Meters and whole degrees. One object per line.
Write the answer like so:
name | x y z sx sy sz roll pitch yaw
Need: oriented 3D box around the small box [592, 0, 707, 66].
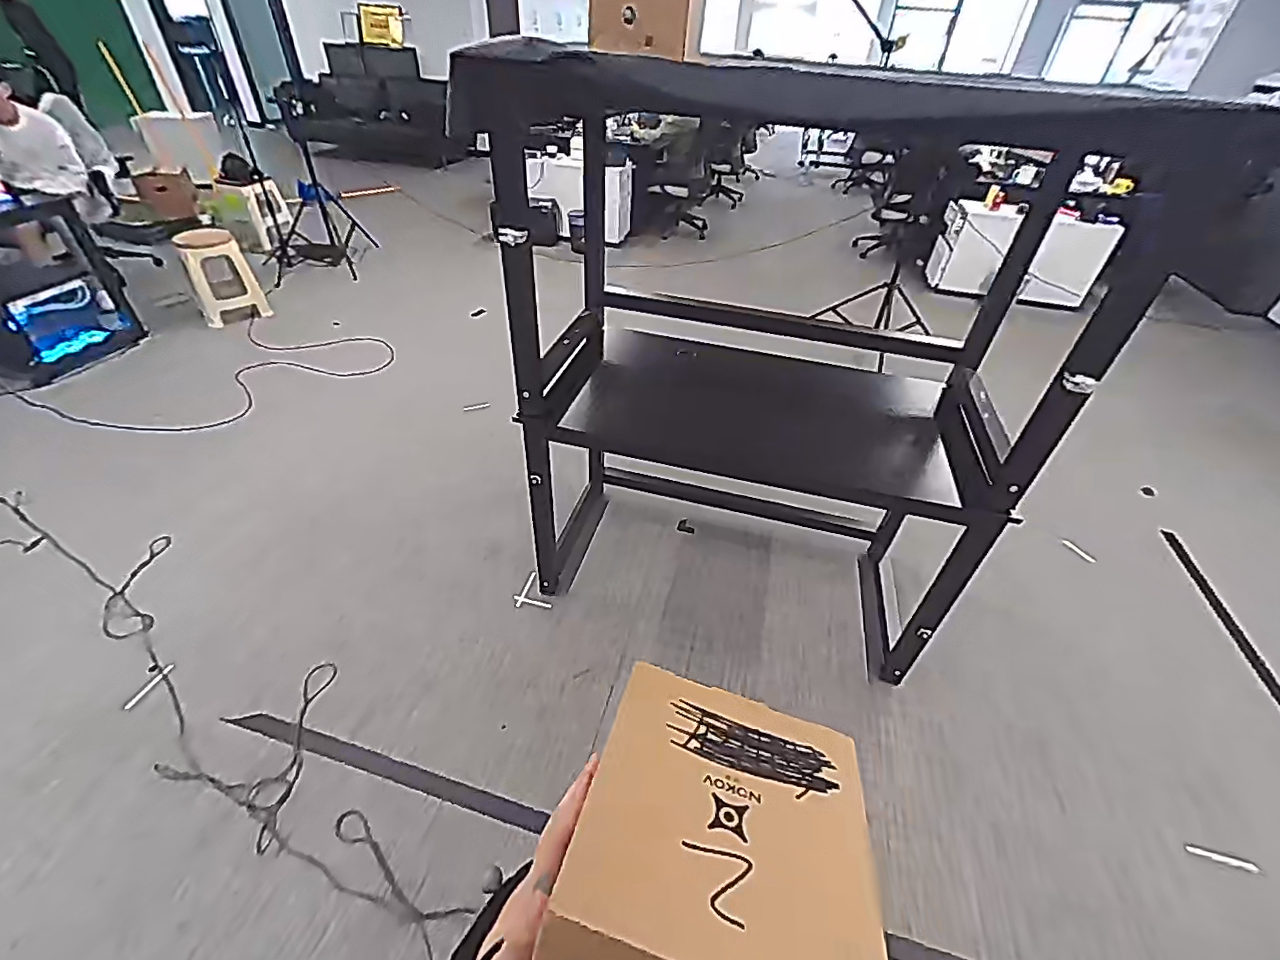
small box | 0.020 -0.810 0.906 0.168 0.176 0.179 12 39 8
